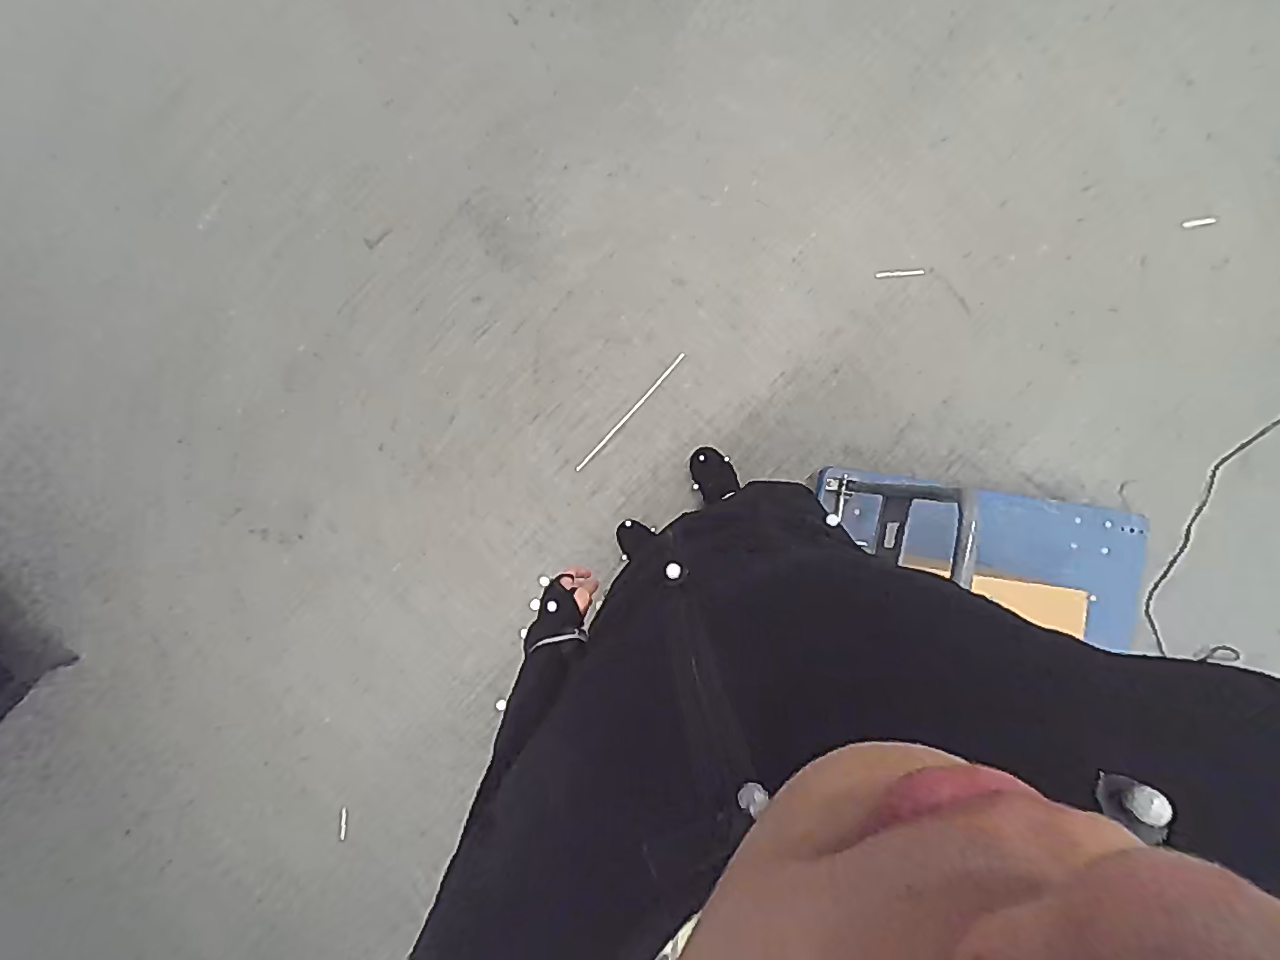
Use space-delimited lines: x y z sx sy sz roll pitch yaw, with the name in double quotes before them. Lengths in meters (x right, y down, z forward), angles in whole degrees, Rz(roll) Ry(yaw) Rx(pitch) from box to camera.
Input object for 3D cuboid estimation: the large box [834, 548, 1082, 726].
"large box" 0.728 0.351 1.301 0.408 0.320 0.320 8 91 1
